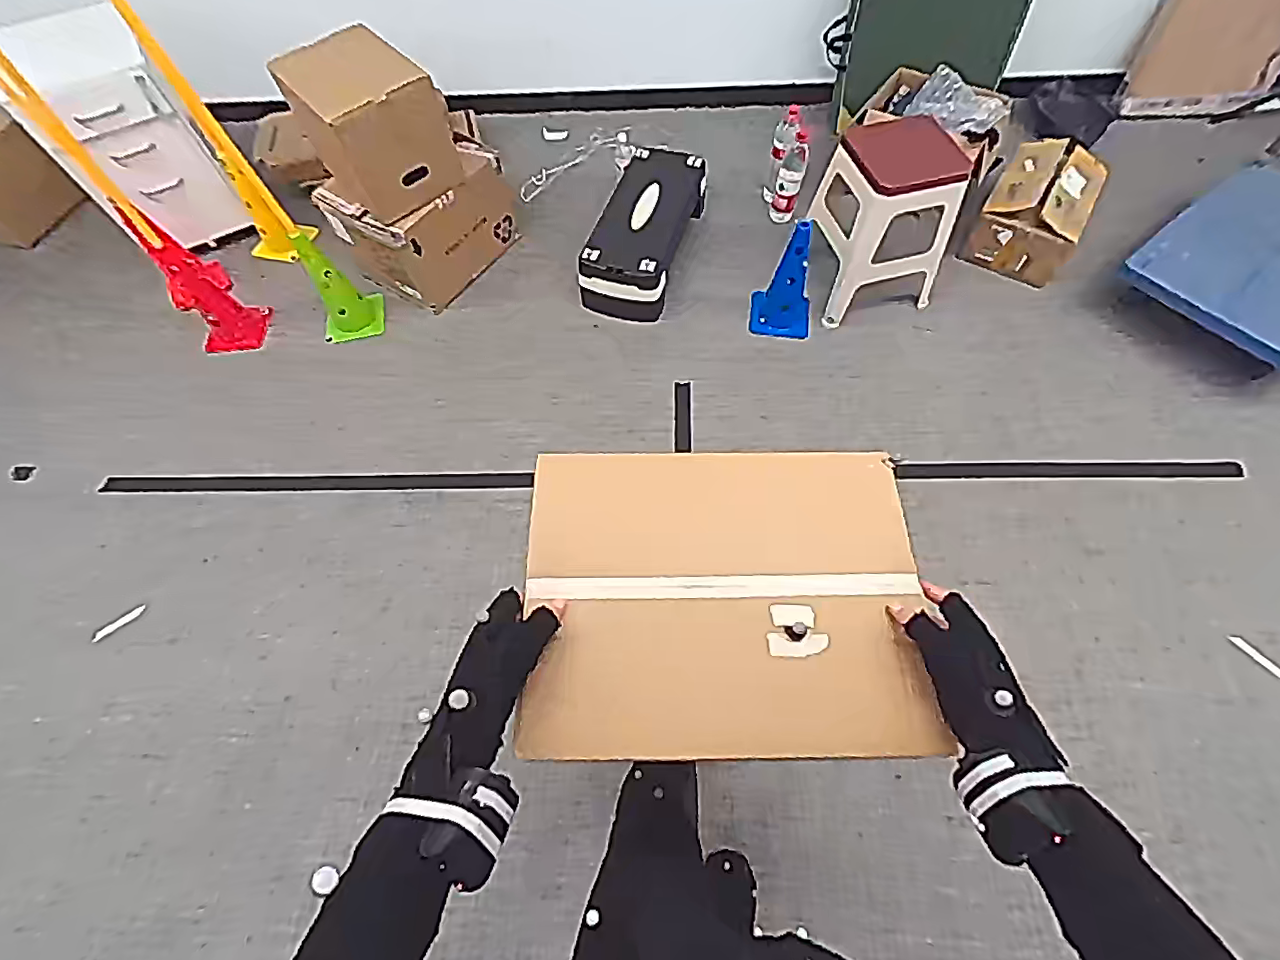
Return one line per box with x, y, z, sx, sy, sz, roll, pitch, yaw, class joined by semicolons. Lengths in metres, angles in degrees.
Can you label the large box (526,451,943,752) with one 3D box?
0.083;0.171;0.702;0.408;0.320;0.320;0;65;-1;large box
